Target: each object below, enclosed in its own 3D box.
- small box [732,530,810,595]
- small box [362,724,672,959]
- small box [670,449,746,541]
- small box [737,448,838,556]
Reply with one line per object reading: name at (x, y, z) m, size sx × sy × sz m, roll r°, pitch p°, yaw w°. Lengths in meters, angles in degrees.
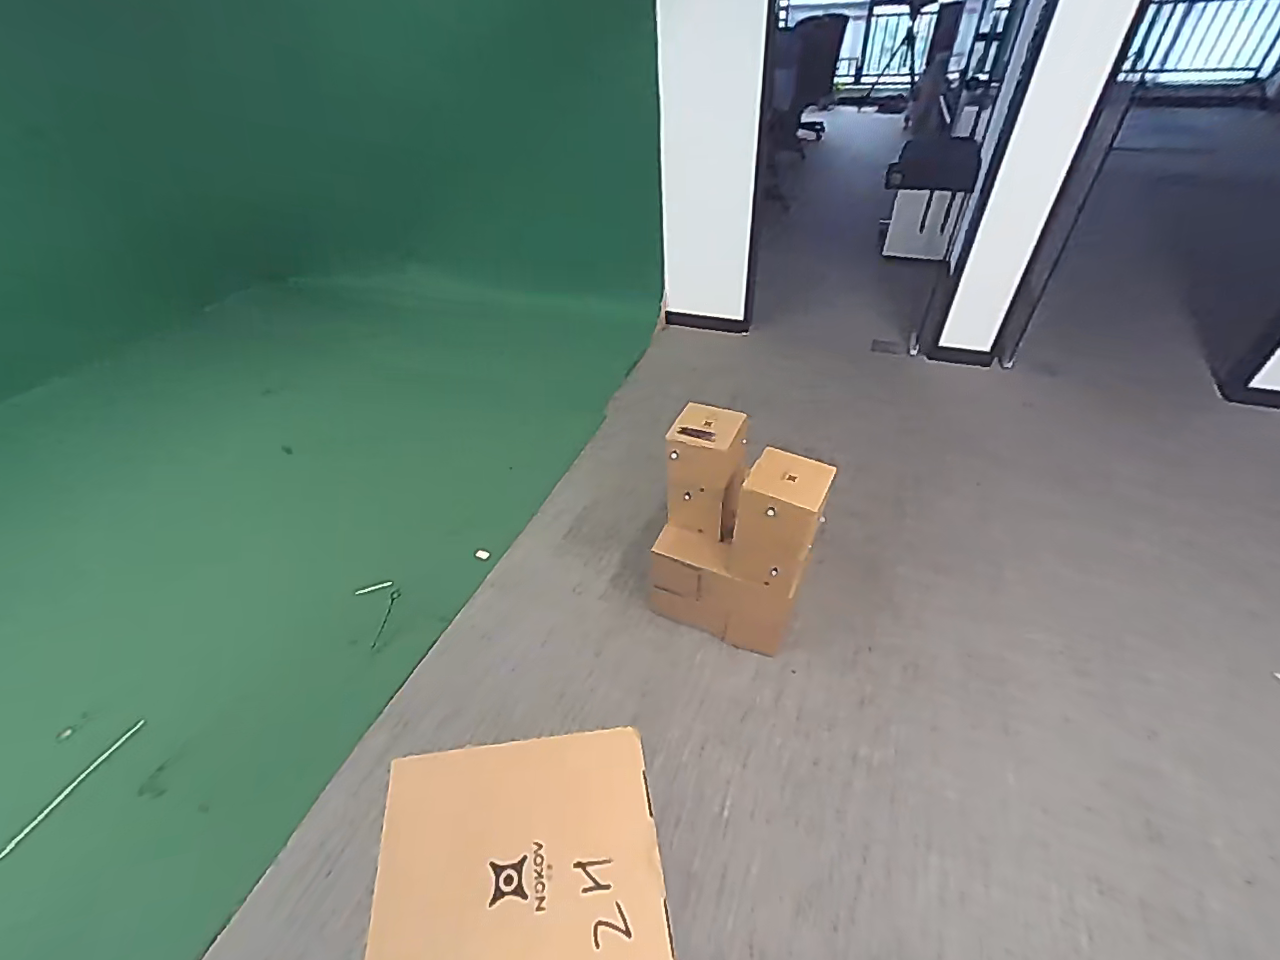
small box at (0.347, 0.168, 1.408) m, size 0.168 × 0.176 × 0.179 m, roll 20°, pitch 46°, yaw 22°
small box at (-0.081, 0.299, 0.391) m, size 0.179 × 0.176 × 0.168 m, roll -2°, pitch 46°, yaw -10°
small box at (0.193, 0.044, 1.558) m, size 0.168 × 0.176 × 0.179 m, roll 18°, pitch 45°, yaw 24°
small box at (0.346, 0.055, 1.290) m, size 0.179 × 0.176 × 0.168 m, roll 20°, pitch 47°, yaw 23°
